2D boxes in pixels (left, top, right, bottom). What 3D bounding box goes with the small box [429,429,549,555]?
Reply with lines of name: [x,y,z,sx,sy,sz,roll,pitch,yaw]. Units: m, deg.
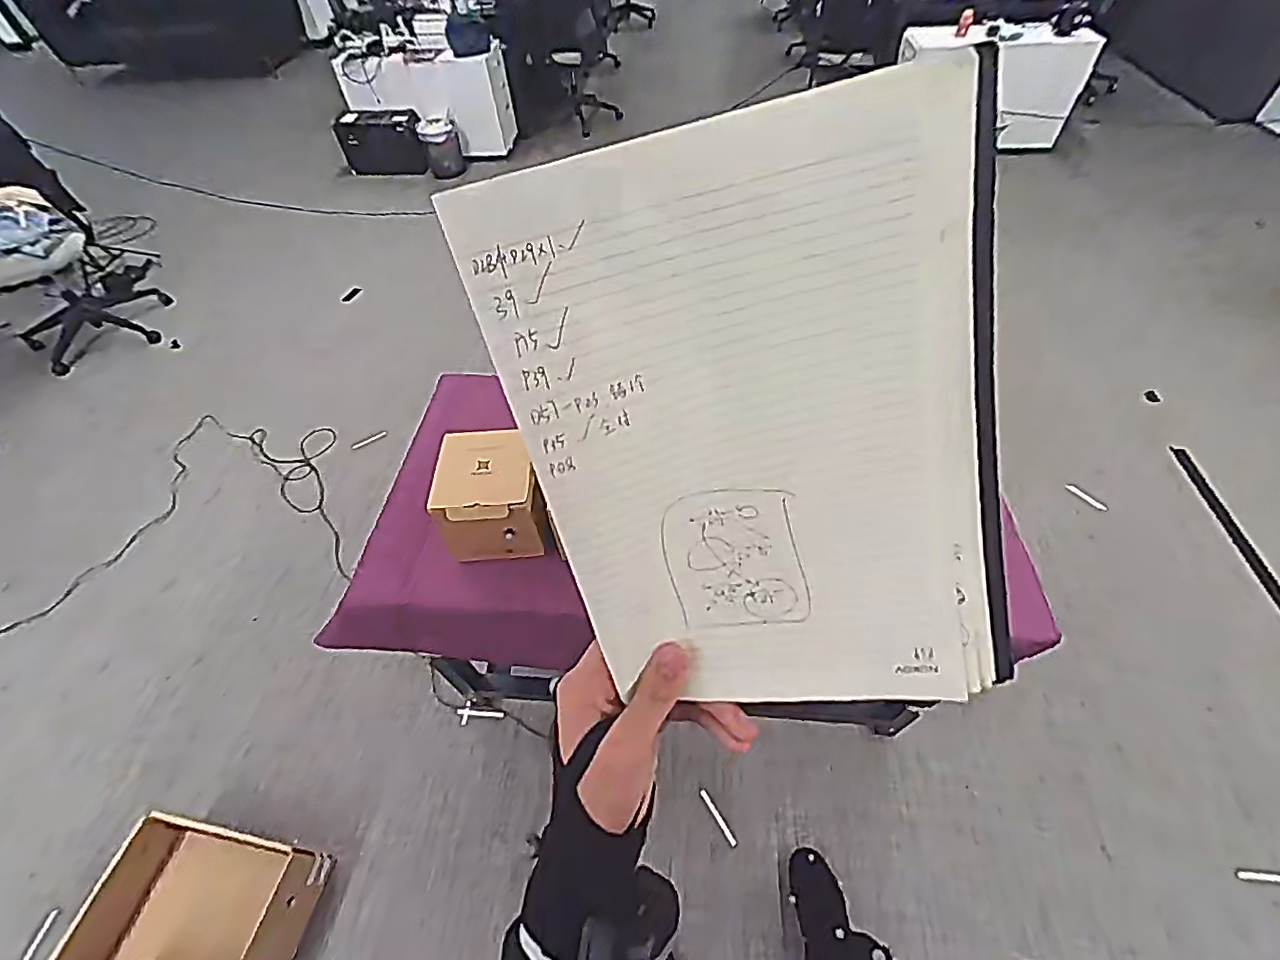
small box: [-0.266,0.029,0.998,0.168,0.176,0.179,-4,52,0]

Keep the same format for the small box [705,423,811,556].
small box: [0.207,0.020,0.974,0.168,0.176,0.179,5,52,7]
